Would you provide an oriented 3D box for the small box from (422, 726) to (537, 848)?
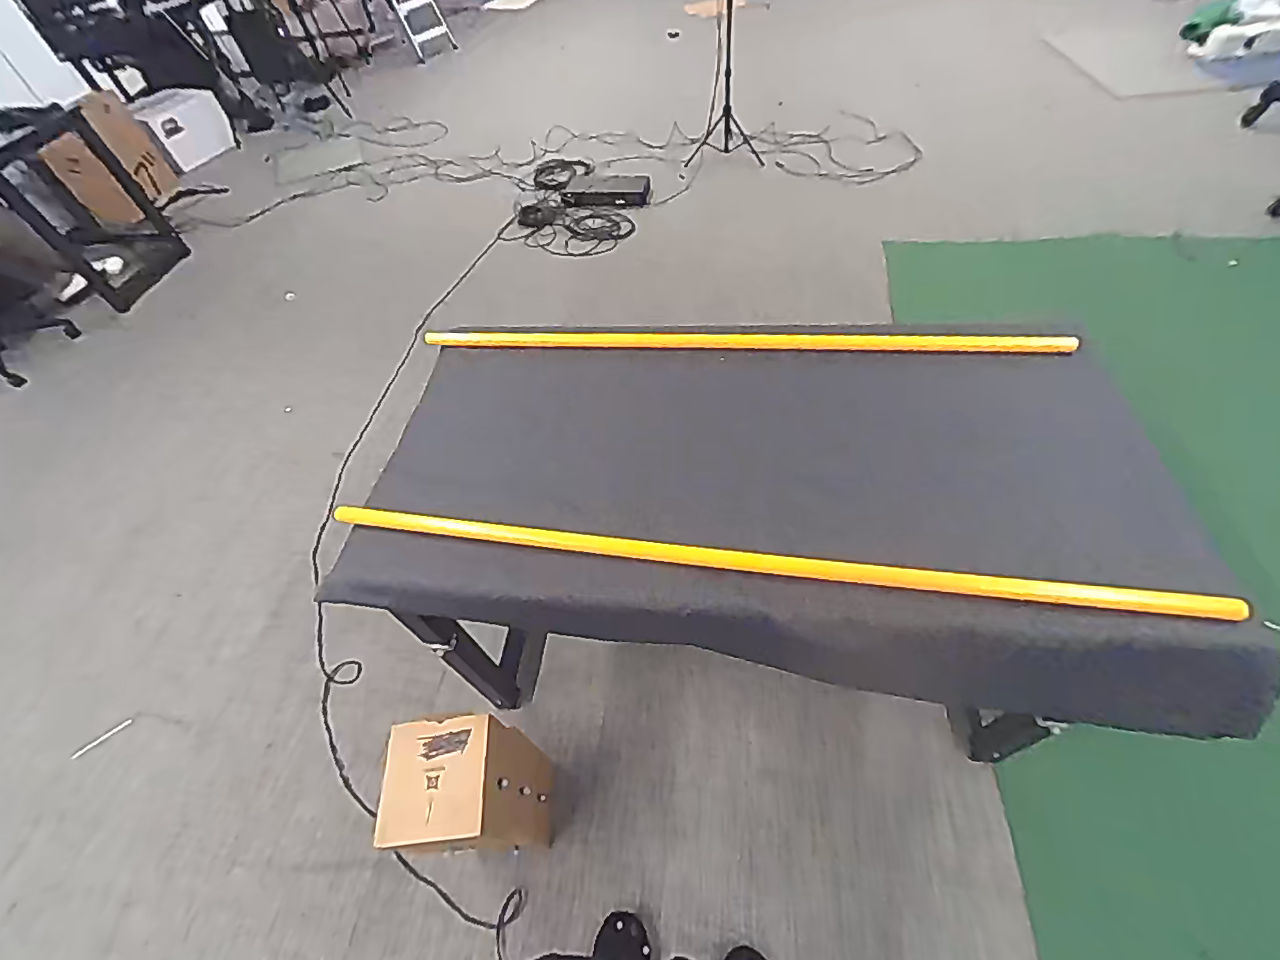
[{"bbox_3d":[-0.303,0.604,1.055,0.168,0.176,0.179,-11,52,1],"label":"small box"}]
